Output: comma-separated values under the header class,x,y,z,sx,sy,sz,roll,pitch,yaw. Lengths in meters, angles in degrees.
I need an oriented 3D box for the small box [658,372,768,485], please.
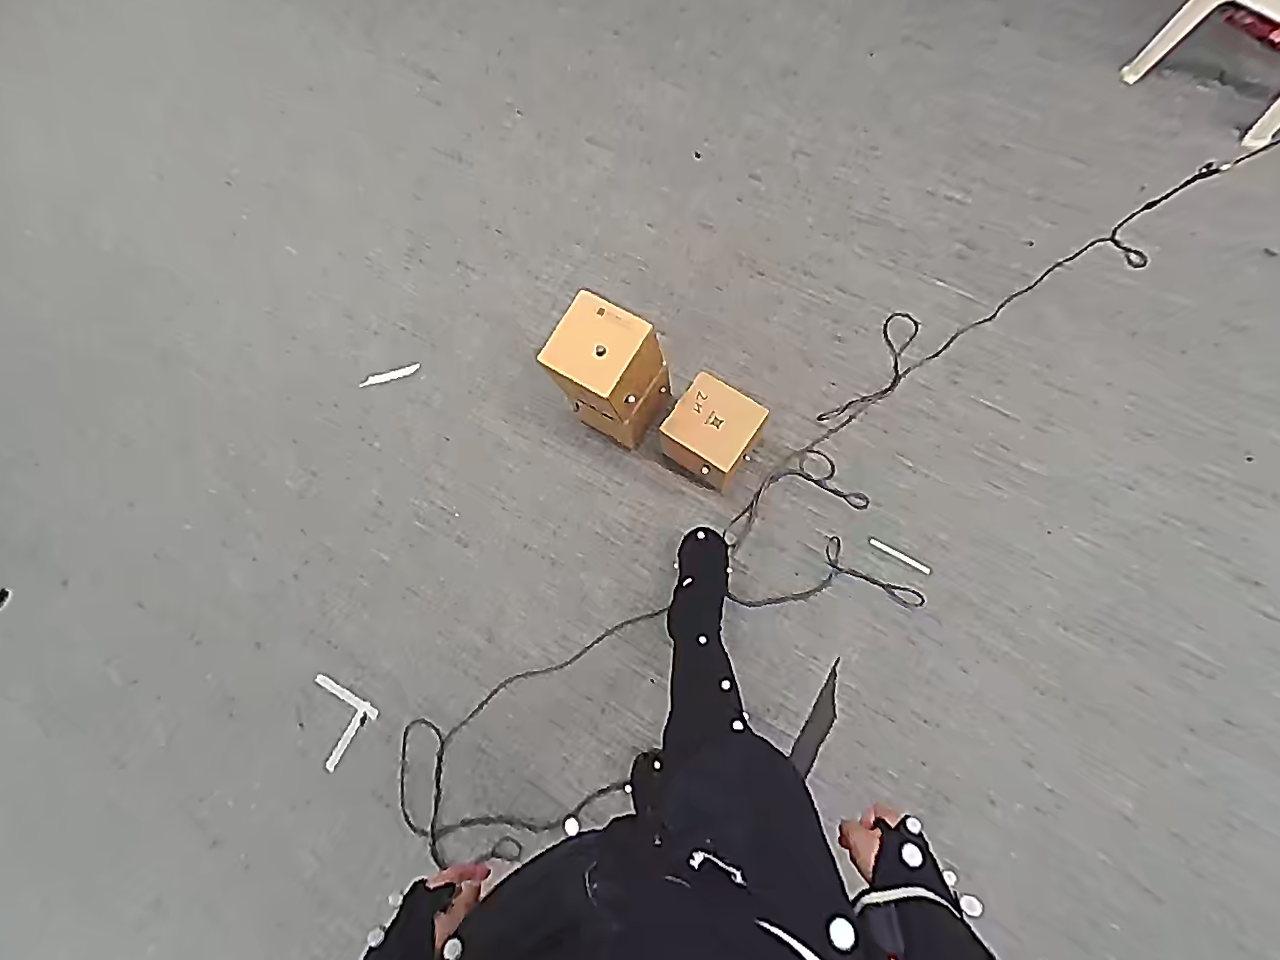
class,x,y,z,sx,sy,sz,roll,pitch,yaw
small box,0.161,-0.105,1.212,0.179,0.176,0.168,34,80,13
